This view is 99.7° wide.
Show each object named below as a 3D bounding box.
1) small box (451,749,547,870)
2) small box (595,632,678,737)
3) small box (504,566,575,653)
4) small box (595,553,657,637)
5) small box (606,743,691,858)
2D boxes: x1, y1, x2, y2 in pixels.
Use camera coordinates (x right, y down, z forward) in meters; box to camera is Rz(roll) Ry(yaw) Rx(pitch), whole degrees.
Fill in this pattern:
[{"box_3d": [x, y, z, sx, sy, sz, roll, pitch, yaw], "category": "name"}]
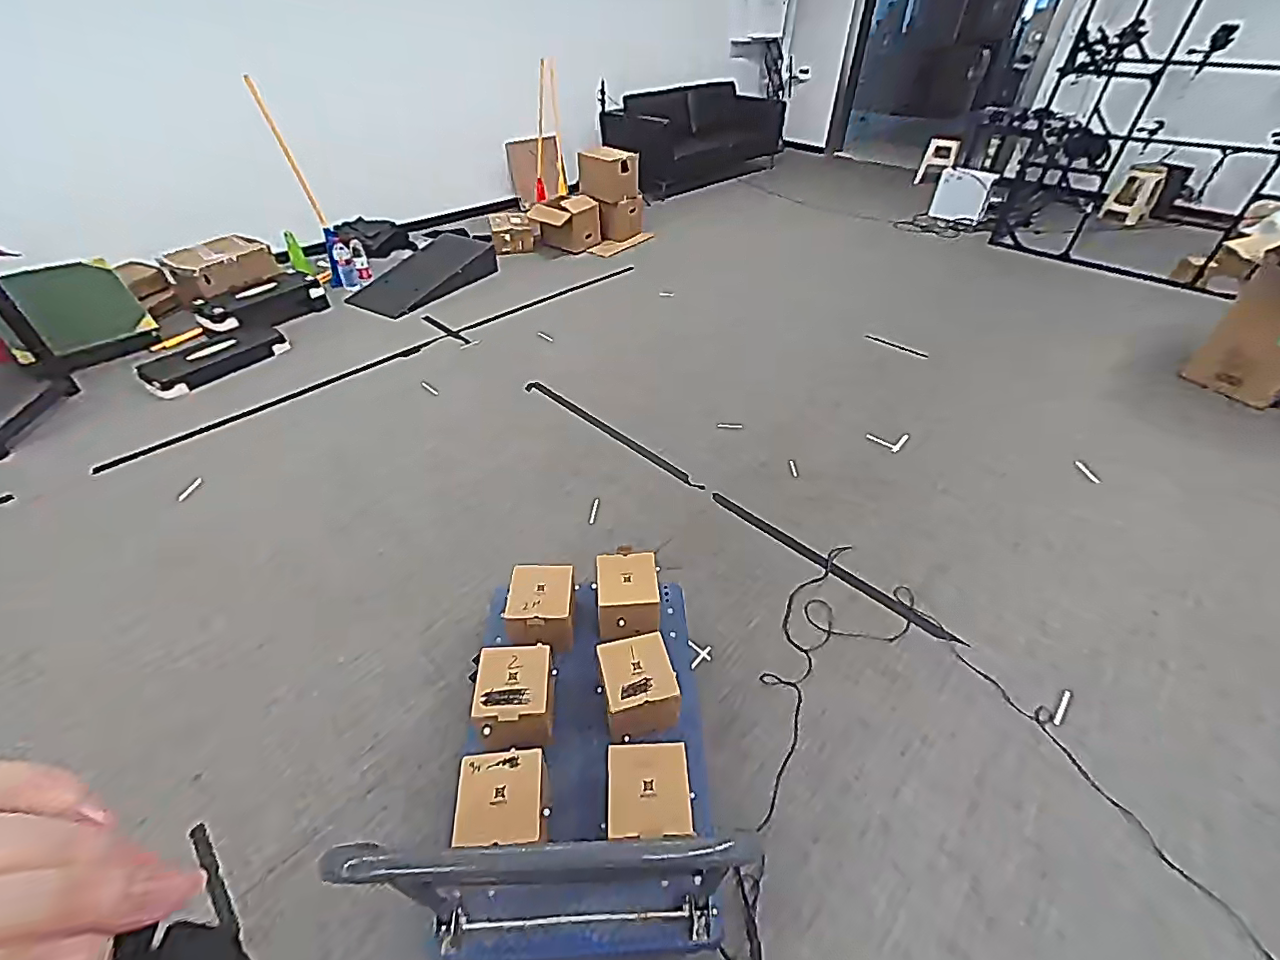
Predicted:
[{"box_3d": [-0.283, 0.690, 1.127, 0.168, 0.176, 0.179, -2, 42, -6], "category": "small box"}, {"box_3d": [-0.010, 0.511, 1.338, 0.168, 0.176, 0.179, -10, 41, -12], "category": "small box"}, {"box_3d": [-0.271, 0.358, 1.500, 0.168, 0.176, 0.179, 0, 43, -1], "category": "small box"}, {"box_3d": [-0.041, 0.332, 1.541, 0.168, 0.176, 0.179, -3, 42, -5], "category": "small box"}, {"box_3d": [0.014, 0.683, 1.147, 0.168, 0.176, 0.179, 0, 41, -3], "category": "small box"}]
